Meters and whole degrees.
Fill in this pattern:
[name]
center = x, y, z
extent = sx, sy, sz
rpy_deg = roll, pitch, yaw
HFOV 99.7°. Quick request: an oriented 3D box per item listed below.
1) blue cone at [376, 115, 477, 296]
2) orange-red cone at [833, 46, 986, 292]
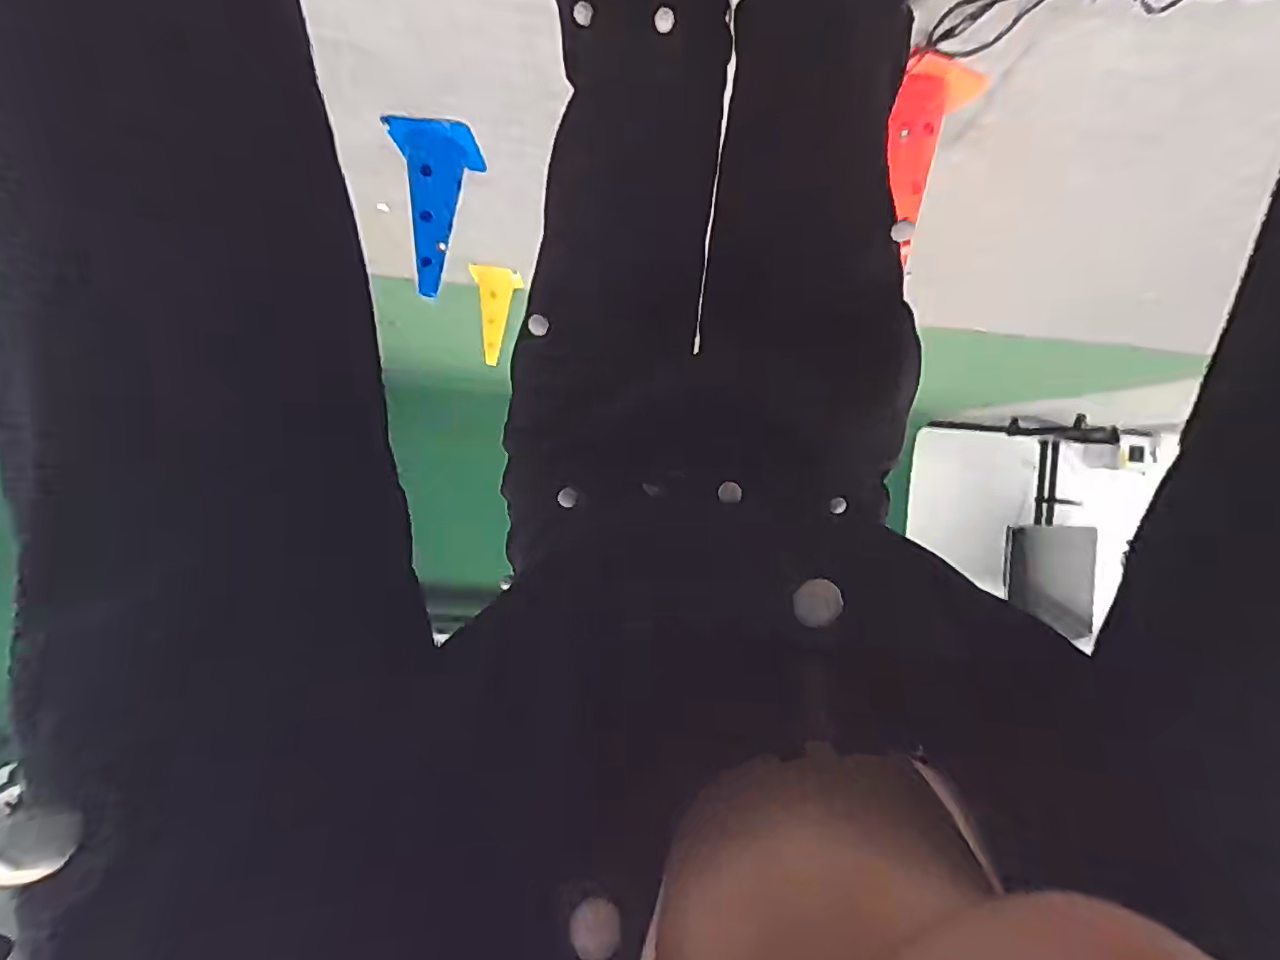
[blue cone]
center = -0.508, -0.628, 1.280
extent = 0.192, 0.380, 0.193
rpy_deg = 5, -179, -3
[orange-red cone]
center = 0.475, -0.531, 0.994
extent = 0.199, 0.360, 0.198
rpy_deg = 3, -177, -23
